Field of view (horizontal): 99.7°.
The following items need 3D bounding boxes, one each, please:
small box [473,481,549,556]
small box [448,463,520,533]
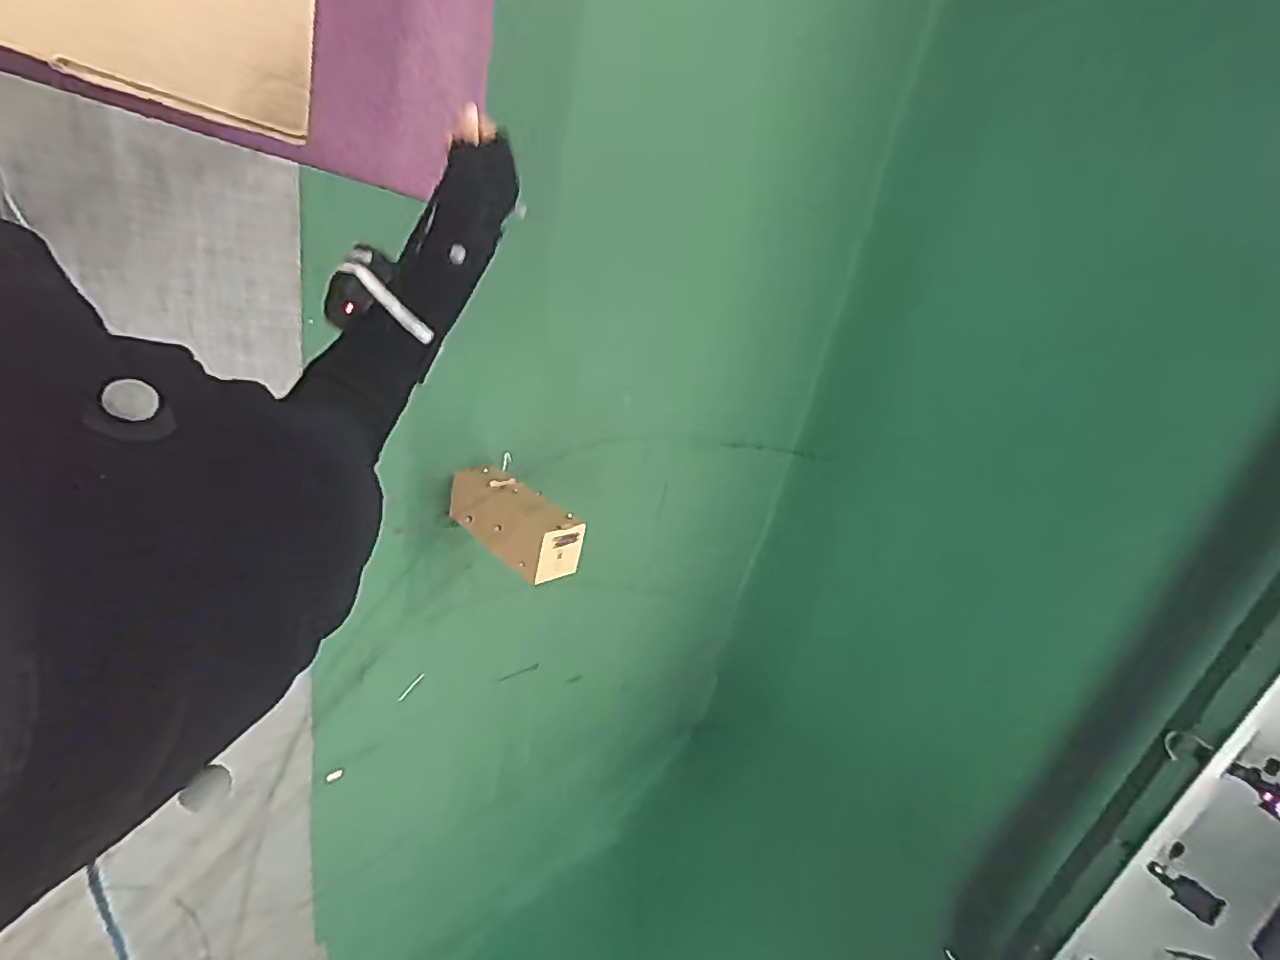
[{"bbox_3d":[-0.424,0.119,1.756,0.168,0.176,0.179,-10,119,-49],"label":"small box"},{"bbox_3d":[-0.539,0.056,1.853,0.168,0.176,0.179,-11,121,-50],"label":"small box"}]
